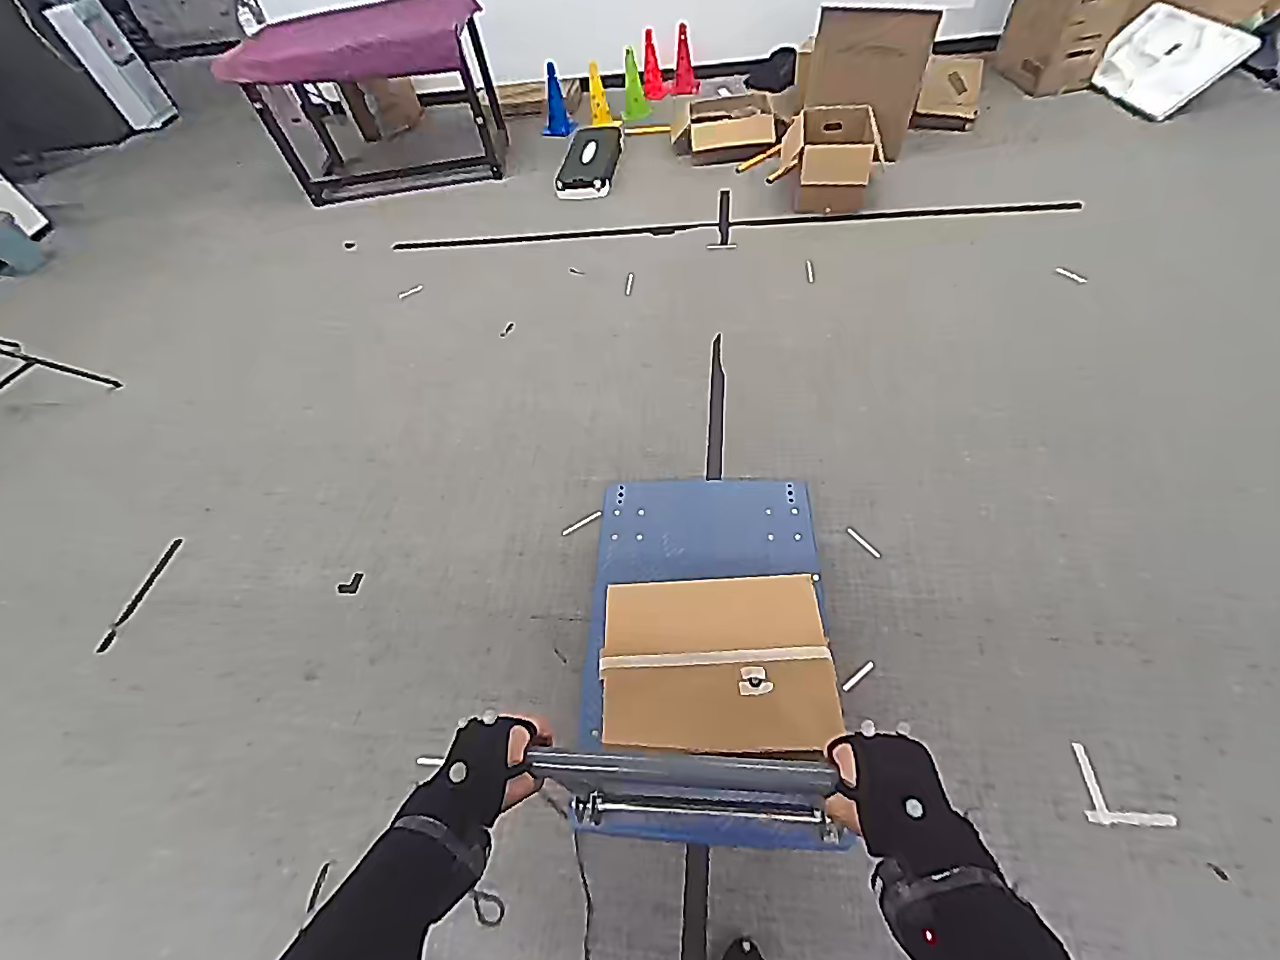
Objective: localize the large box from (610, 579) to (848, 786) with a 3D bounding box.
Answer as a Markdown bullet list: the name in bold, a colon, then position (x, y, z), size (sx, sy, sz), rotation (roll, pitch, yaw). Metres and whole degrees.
- **large box**: position (0.155, 0.420, 1.100), size (0.408, 0.320, 0.320), rotation (-4, 54, 4)
